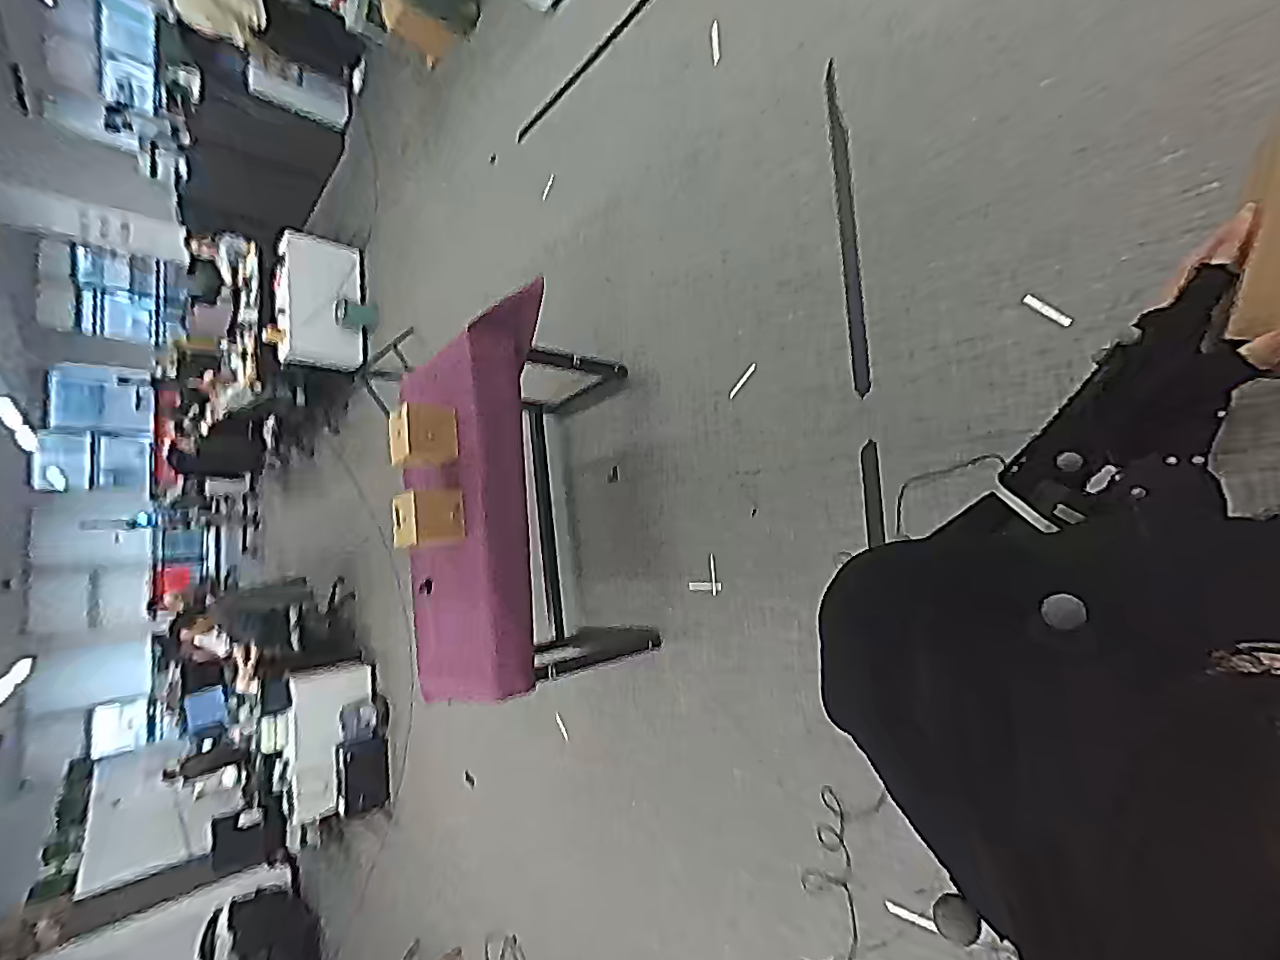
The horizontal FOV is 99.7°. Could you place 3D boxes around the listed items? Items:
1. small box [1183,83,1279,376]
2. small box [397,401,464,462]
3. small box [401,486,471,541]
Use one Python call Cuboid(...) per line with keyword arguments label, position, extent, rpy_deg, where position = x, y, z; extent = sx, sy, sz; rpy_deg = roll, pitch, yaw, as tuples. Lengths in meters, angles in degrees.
Cuboid(label="small box", position=(0.488, -0.157, 0.338), extent=(0.179, 0.176, 0.168), rpy_deg=(13, 98, 39))
Cuboid(label="small box", position=(-0.715, -0.161, 1.850), extent=(0.168, 0.176, 0.179), rpy_deg=(-16, 79, 46))
Cuboid(label="small box", position=(-0.681, 0.115, 1.809), extent=(0.179, 0.176, 0.168), rpy_deg=(-15, 79, 45))
